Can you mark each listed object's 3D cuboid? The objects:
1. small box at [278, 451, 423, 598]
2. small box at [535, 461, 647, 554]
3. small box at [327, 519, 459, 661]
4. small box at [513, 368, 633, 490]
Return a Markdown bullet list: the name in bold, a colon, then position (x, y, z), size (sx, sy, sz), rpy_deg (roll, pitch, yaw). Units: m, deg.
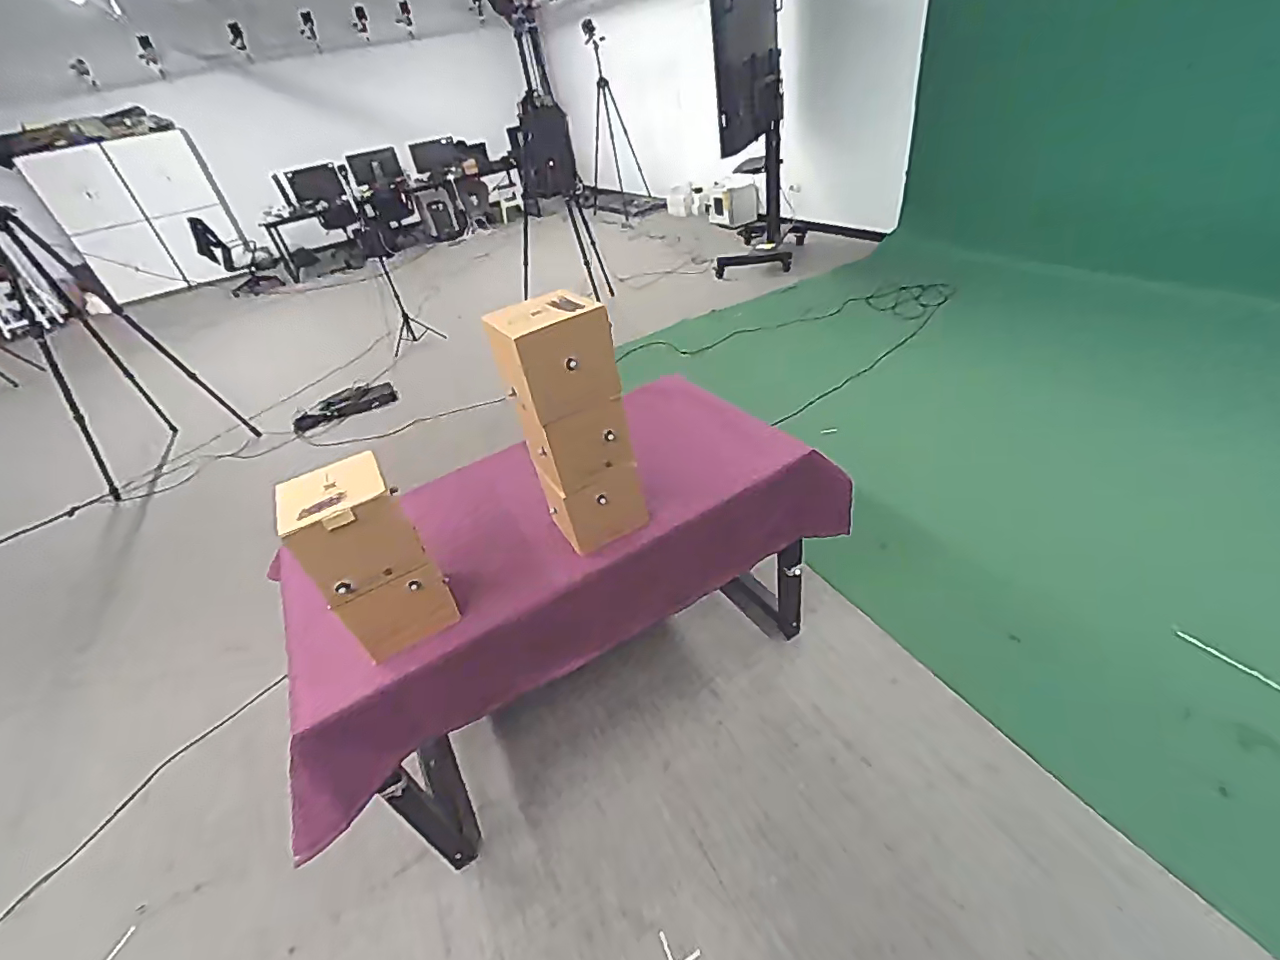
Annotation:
- **small box**: position (-0.504, 0.082, 0.949), size (0.168, 0.176, 0.179), rpy_deg (-26, 37, -20)
- **small box**: position (-0.103, 0.032, 1.185), size (0.179, 0.176, 0.168), rpy_deg (-25, 39, -18)
- **small box**: position (-0.479, 0.213, 1.045), size (0.179, 0.176, 0.168), rpy_deg (-26, 39, -20)
- **small box**: position (-0.131, -0.100, 1.093), size (0.168, 0.176, 0.179), rpy_deg (-26, 38, -20)
